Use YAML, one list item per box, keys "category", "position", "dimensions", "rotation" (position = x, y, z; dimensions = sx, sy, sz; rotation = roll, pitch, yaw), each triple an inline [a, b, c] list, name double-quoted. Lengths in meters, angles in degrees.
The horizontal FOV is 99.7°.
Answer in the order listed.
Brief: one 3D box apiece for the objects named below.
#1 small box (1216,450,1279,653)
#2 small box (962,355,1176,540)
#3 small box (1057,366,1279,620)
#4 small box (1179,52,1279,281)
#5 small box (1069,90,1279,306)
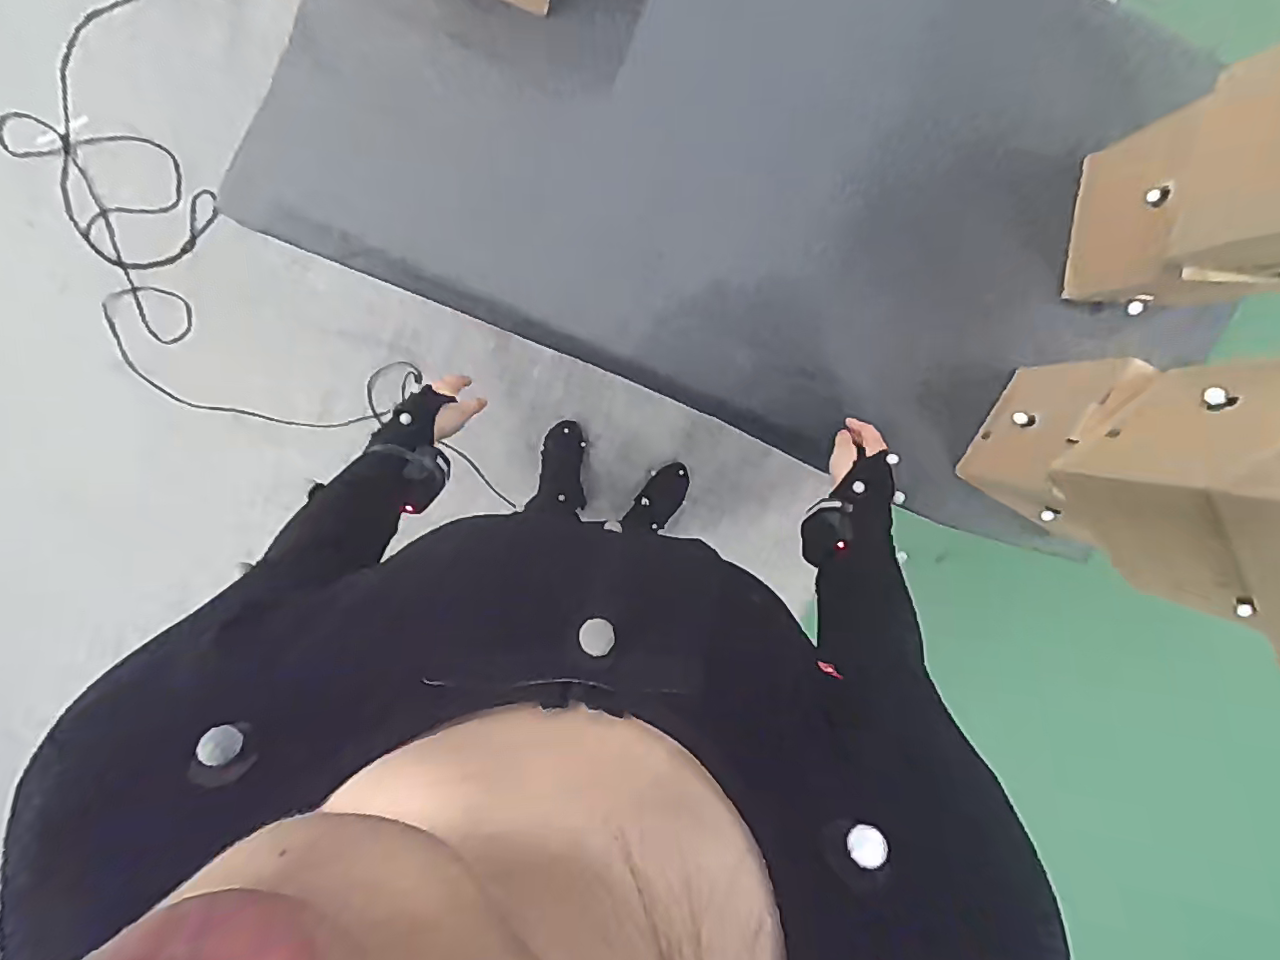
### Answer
- category: "small box"
  position: [0.542, 0.054, 0.337]
  dimensions: [0.168, 0.176, 0.179]
  rotation: [-29, 98, 1]
- category: "small box"
  position: [0.544, -0.029, 0.657]
  dimensions: [0.179, 0.176, 0.168]
  rotation: [29, 96, -5]
- category: "small box"
  position: [0.547, 0.010, 0.497]
  dimensions: [0.168, 0.176, 0.179]
  rotation: [-39, 98, 3]
- category: "small box"
  position: [0.621, -0.276, 0.449]
  dimensions: [0.168, 0.176, 0.179]
  rotation: [9, 101, 0]
- category: "small box"
  position: [0.637, -0.301, 0.612]
  dimensions: [0.168, 0.176, 0.179]
  rotation: [2, 102, 1]
